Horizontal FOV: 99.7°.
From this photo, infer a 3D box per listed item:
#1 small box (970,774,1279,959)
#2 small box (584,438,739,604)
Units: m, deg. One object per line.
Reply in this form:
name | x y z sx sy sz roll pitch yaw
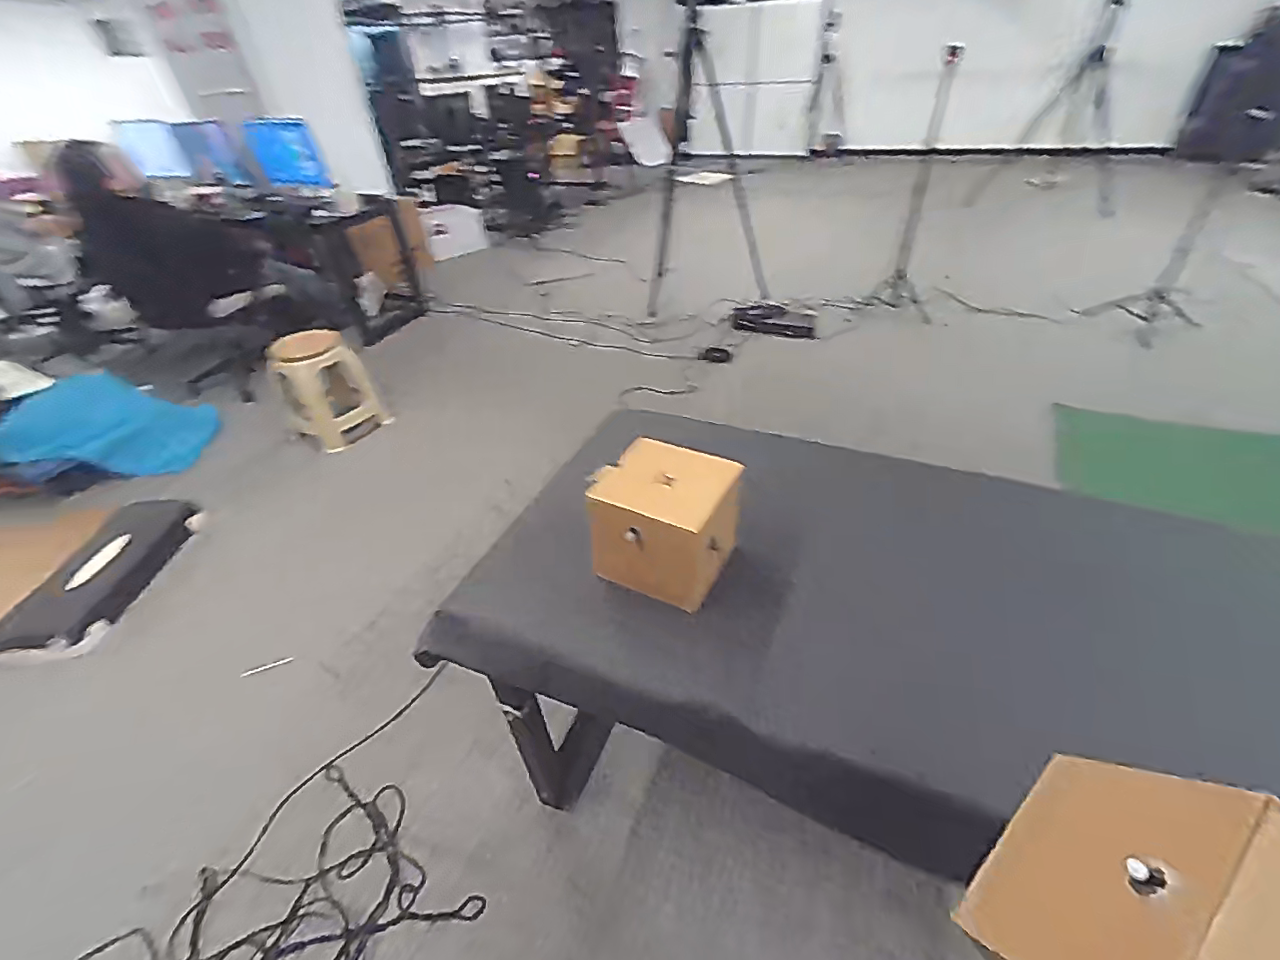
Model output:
small box | 0.372 0.333 0.362 0.179 0.176 0.168 -40 79 -16
small box | 0.037 0.063 0.830 0.179 0.176 0.168 17 42 24
